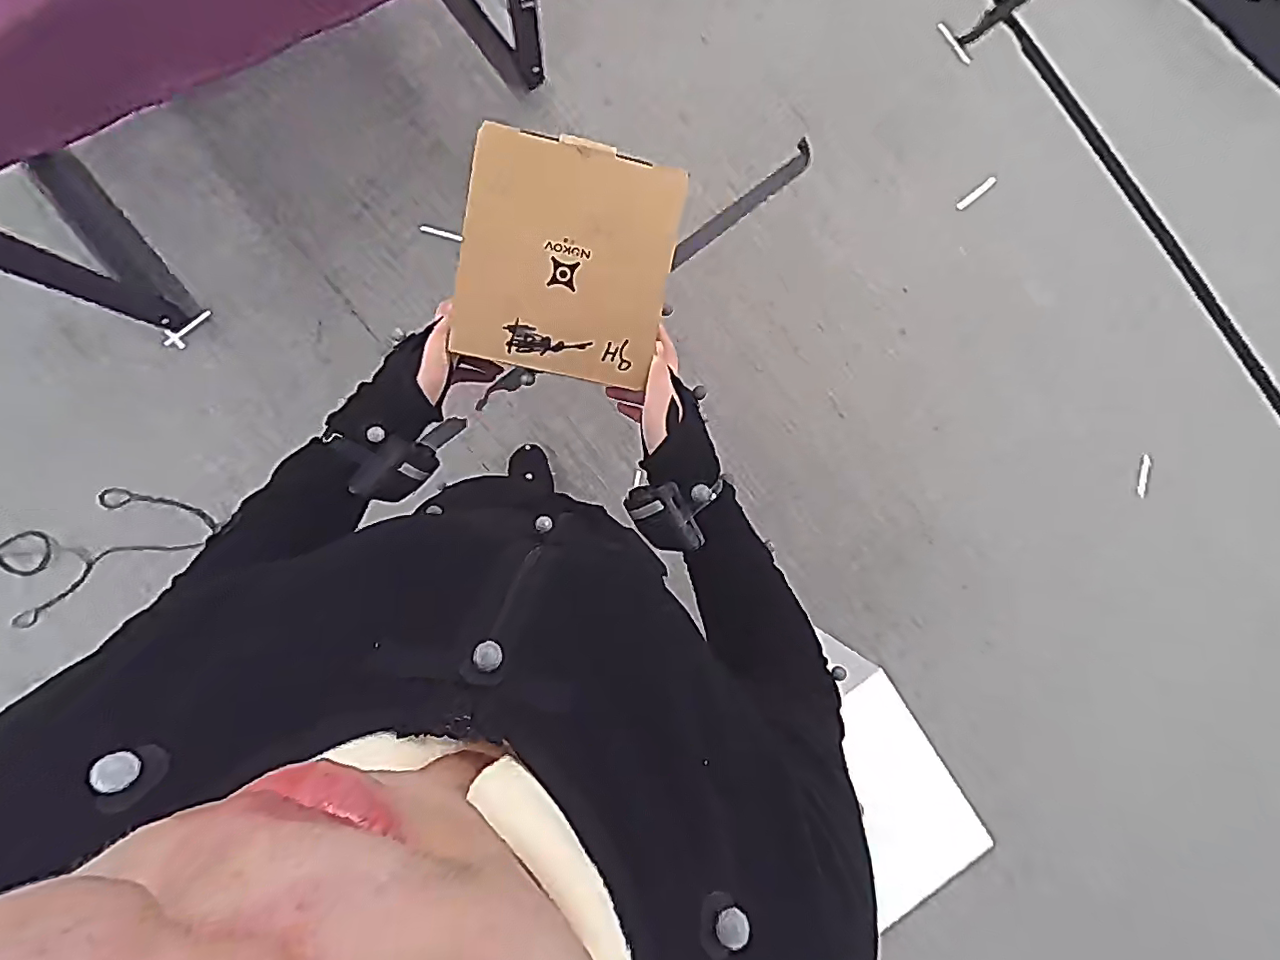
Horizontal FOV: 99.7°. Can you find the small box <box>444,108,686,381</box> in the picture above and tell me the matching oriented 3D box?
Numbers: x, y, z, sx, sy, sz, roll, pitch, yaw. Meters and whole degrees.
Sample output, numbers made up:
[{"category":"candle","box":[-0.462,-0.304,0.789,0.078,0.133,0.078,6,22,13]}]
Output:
[{"category":"small box","box":[-0.065,-0.195,0.504,0.168,0.176,0.179,11,100,-5]}]
